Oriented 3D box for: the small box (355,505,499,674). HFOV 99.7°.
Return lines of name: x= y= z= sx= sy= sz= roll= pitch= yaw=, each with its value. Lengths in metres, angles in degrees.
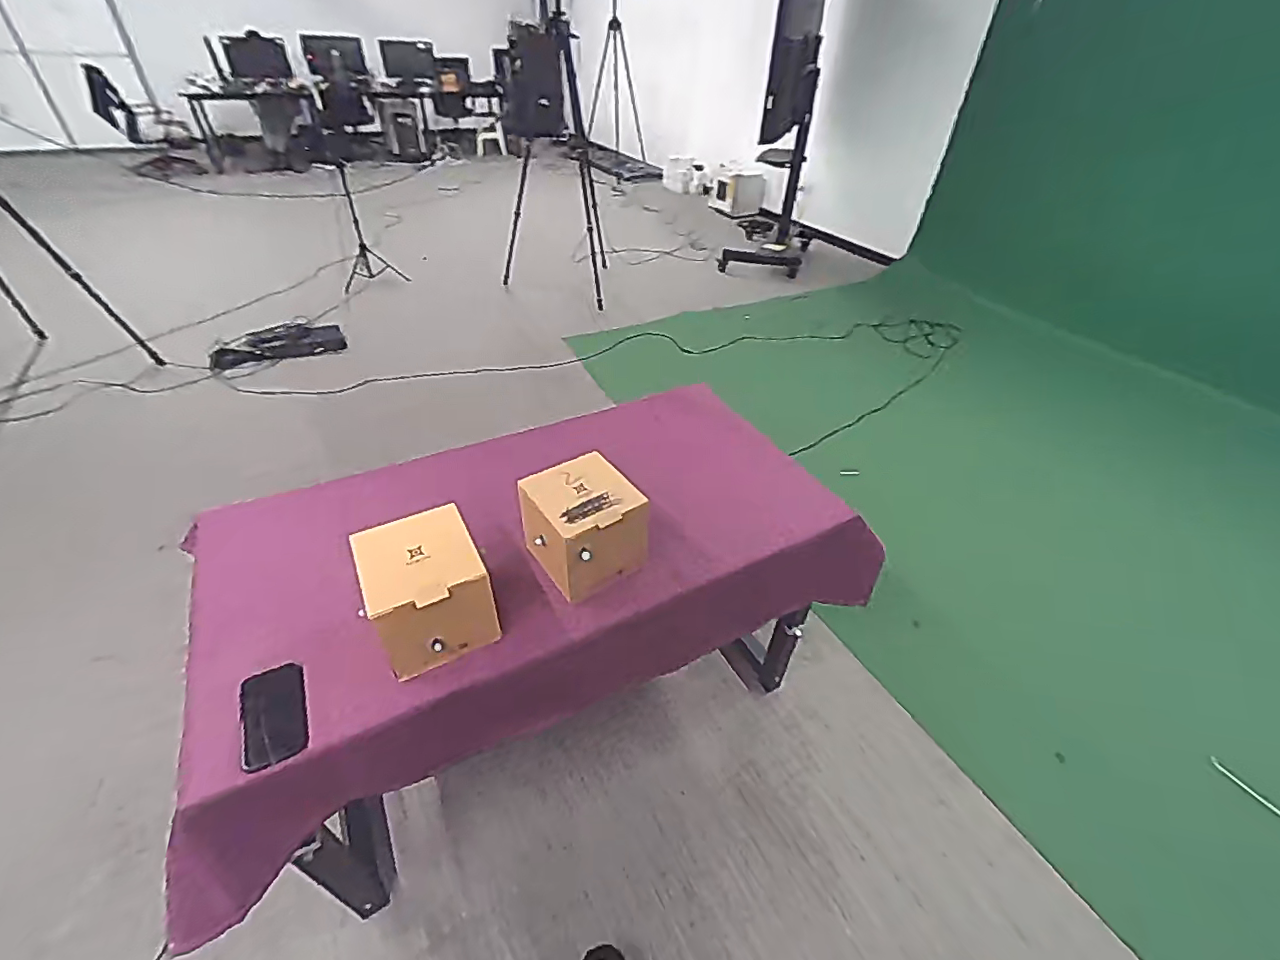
small box: x=-0.339 y=0.174 z=0.873 sx=0.168 sy=0.176 sz=0.179 roll=-19 pitch=46 yaw=-24
